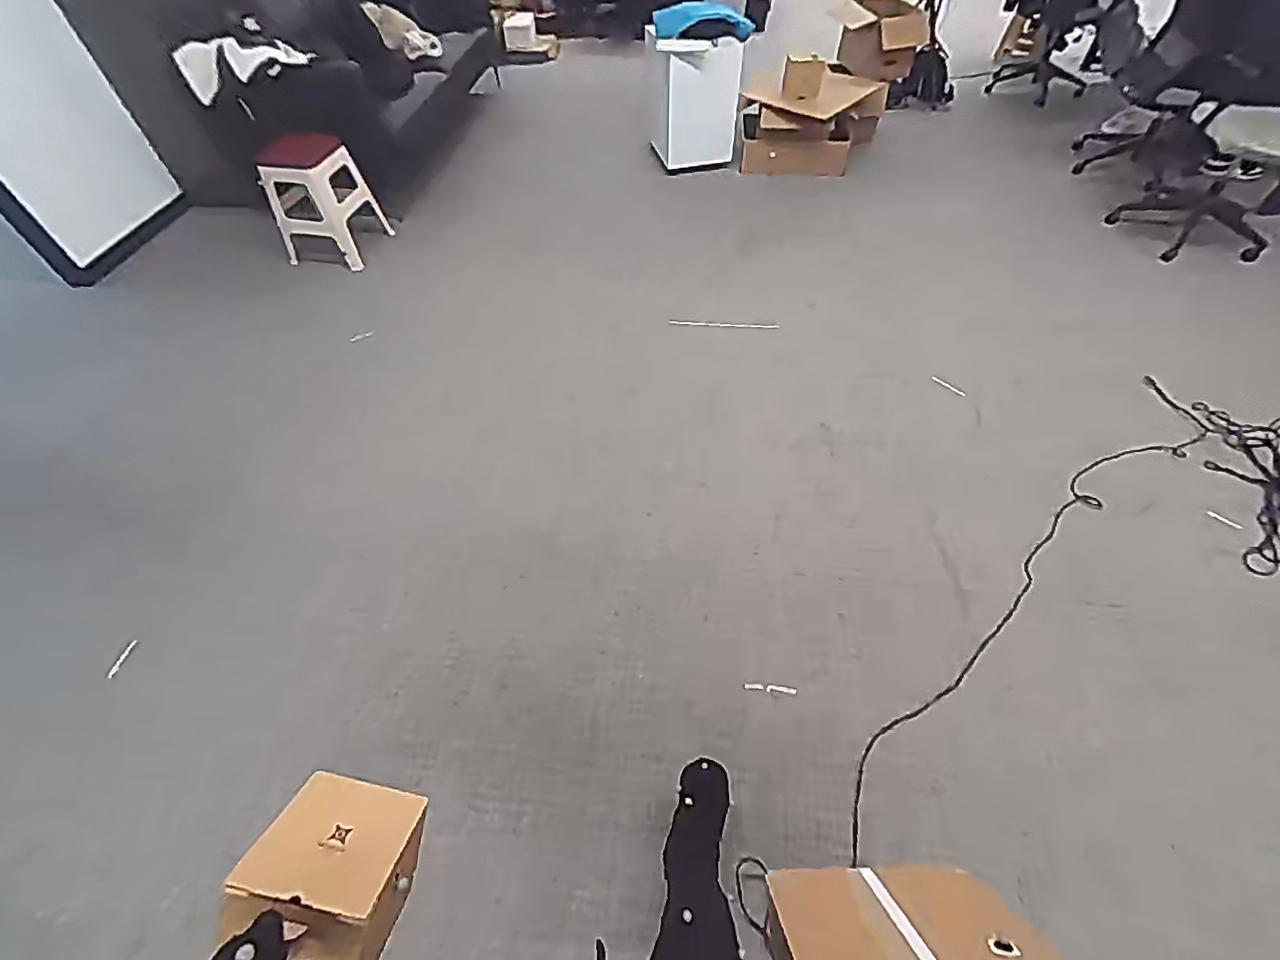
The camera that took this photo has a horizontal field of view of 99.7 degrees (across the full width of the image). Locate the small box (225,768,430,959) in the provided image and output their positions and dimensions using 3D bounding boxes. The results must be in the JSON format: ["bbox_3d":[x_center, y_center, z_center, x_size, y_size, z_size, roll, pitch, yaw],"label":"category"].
[{"bbox_3d":[-0.402,0.526,0.706,0.168,0.176,0.179,15,13,-1],"label":"small box"}]
